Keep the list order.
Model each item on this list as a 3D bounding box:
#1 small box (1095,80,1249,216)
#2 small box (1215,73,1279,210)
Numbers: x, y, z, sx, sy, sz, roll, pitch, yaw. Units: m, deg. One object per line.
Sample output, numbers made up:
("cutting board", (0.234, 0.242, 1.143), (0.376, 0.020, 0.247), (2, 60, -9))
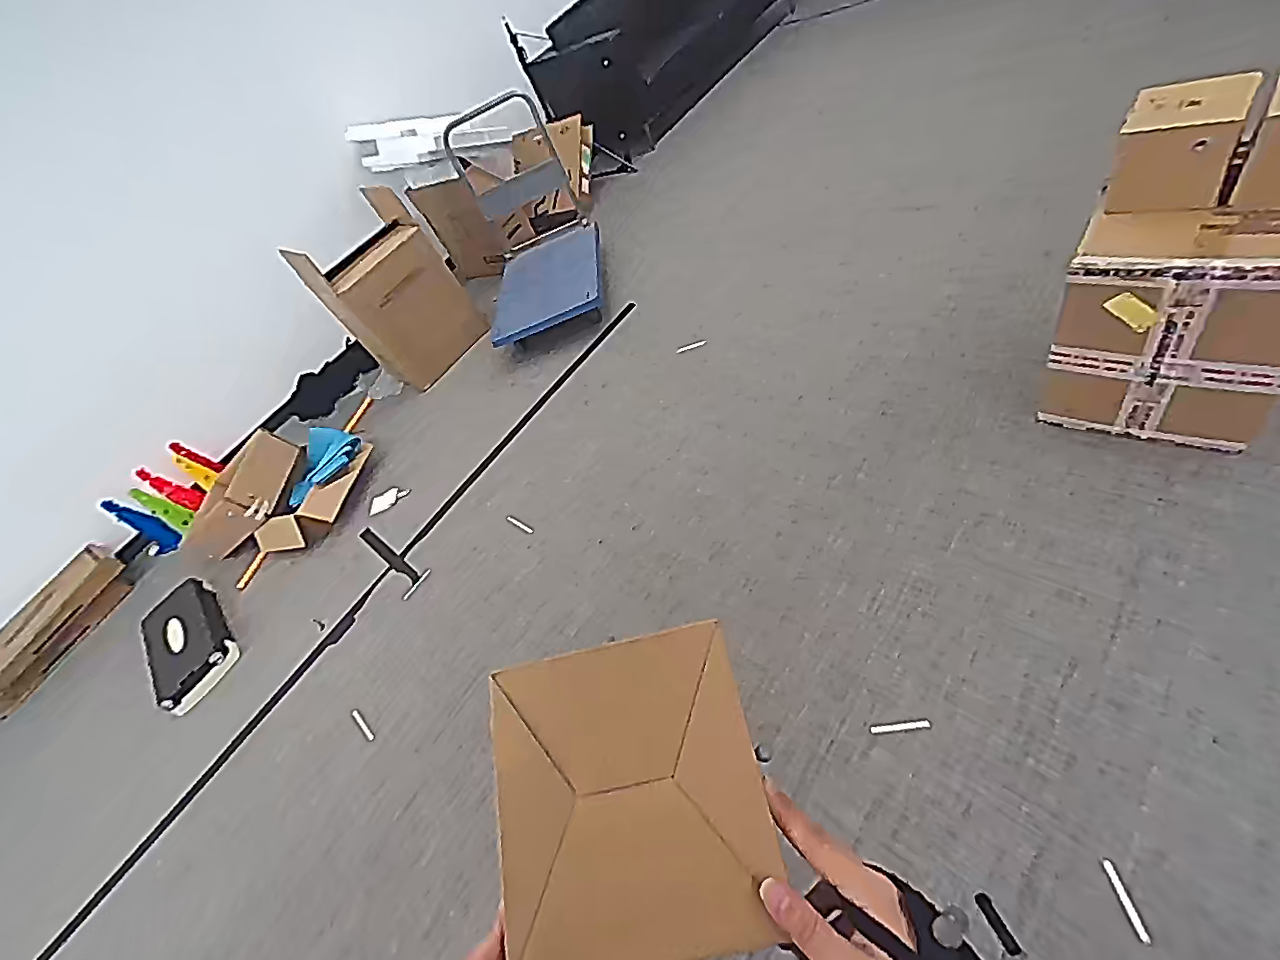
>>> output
("small box", (1.067, -0.662, 1.097), (0.179, 0.176, 0.168), (20, 65, 41))
("small box", (1.210, -0.614, 0.980), (0.179, 0.176, 0.168), (20, 66, 38))
